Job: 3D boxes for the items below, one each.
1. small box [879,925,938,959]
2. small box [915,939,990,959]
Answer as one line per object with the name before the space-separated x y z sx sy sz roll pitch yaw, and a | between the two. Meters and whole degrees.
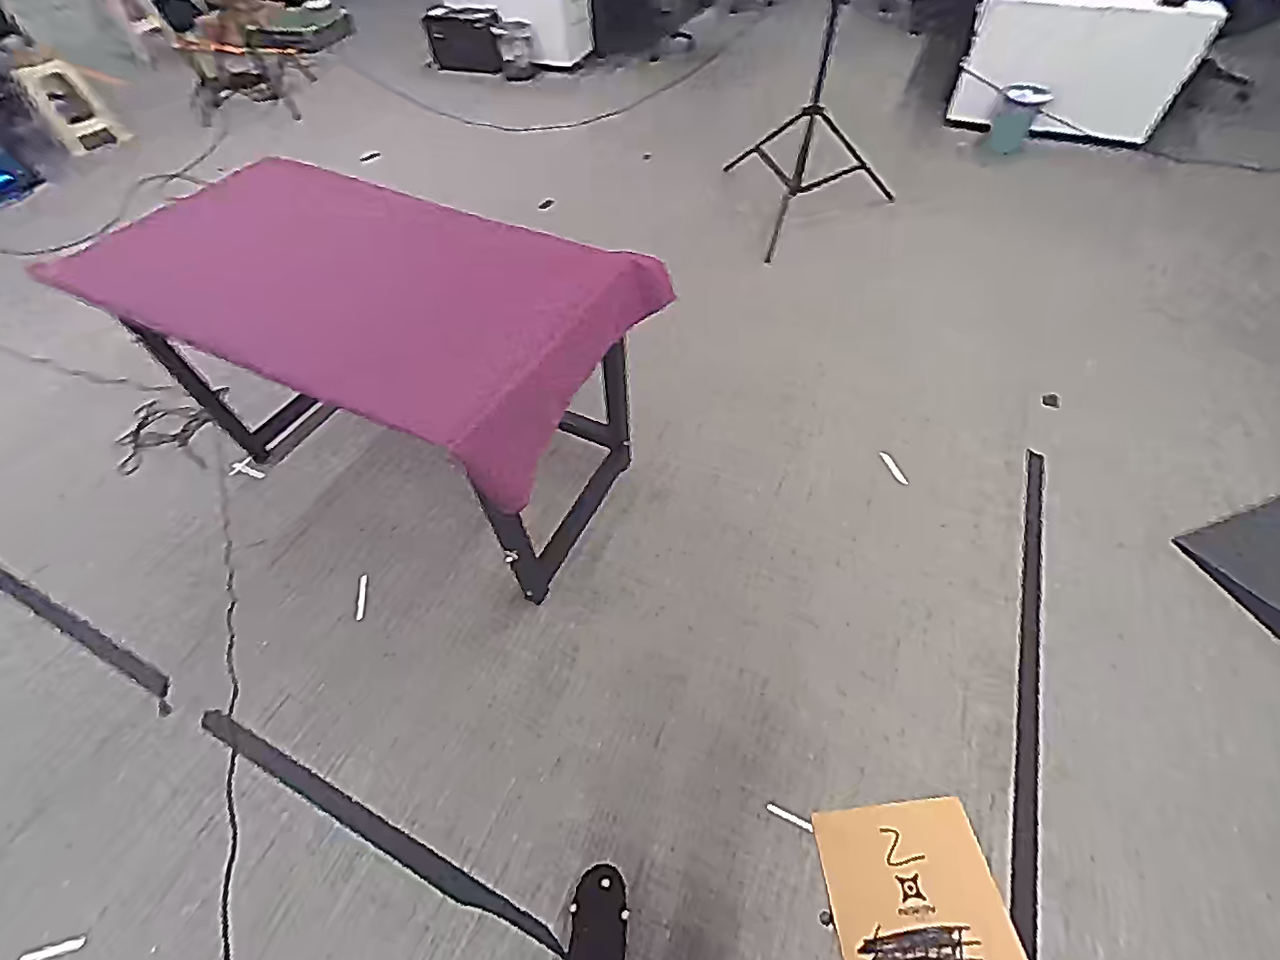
small box | 0.527 0.926 0.950 0.168 0.176 0.179 18 55 13
small box | 0.521 0.834 0.814 0.179 0.176 0.168 21 57 14
